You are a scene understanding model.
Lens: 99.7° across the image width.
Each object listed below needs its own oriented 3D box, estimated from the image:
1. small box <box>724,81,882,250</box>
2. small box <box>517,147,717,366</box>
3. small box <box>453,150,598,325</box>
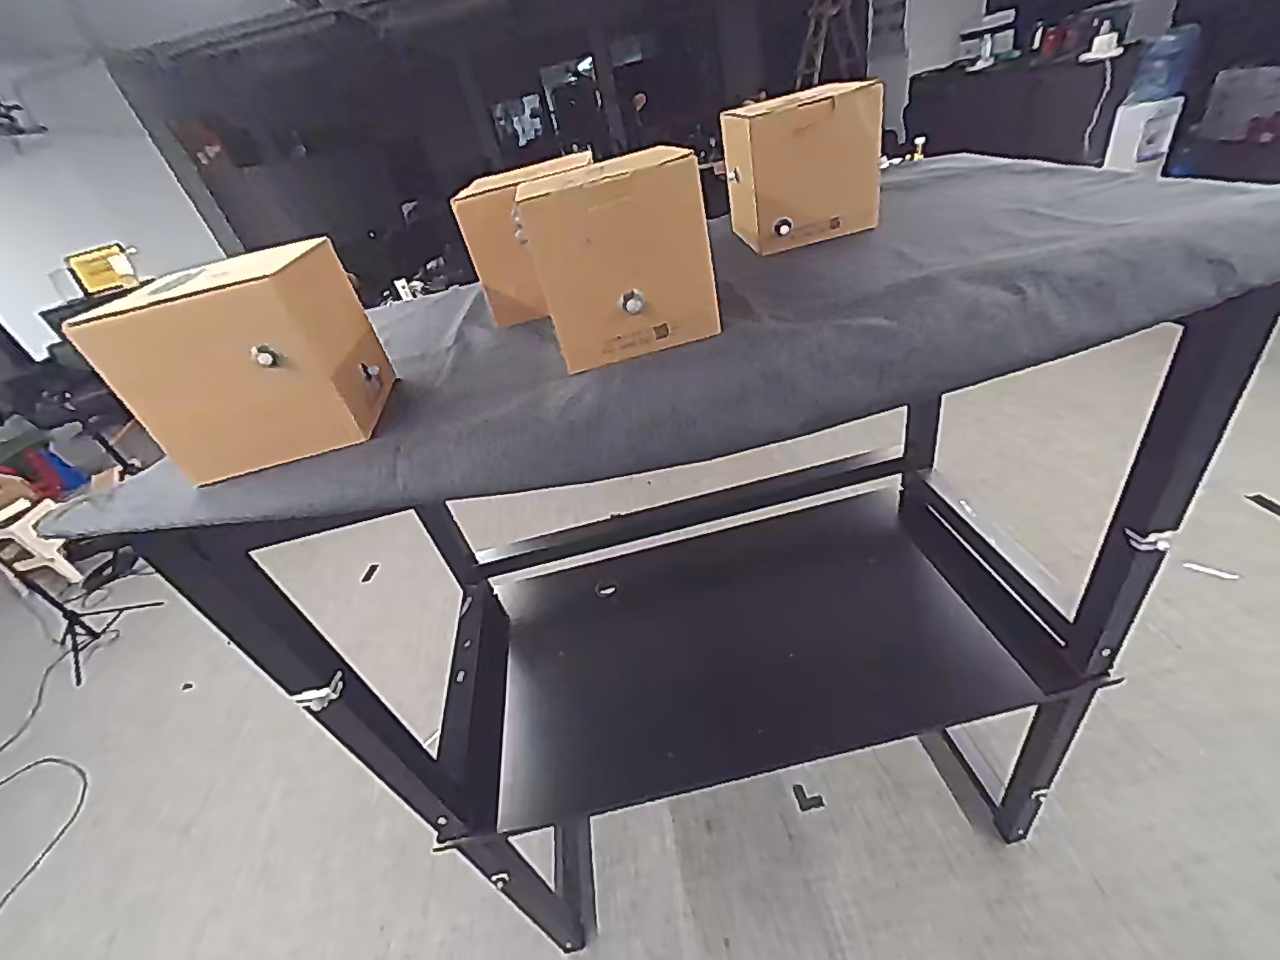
[{"bbox_3d":[0.224,-0.439,0.764,0.168,0.176,0.179,-12,35,3],"label":"small box"},{"bbox_3d":[-0.024,-0.243,0.583,0.168,0.176,0.179,-15,35,0],"label":"small box"},{"bbox_3d":[-0.128,-0.338,0.755,0.179,0.176,0.168,-12,36,5],"label":"small box"}]
